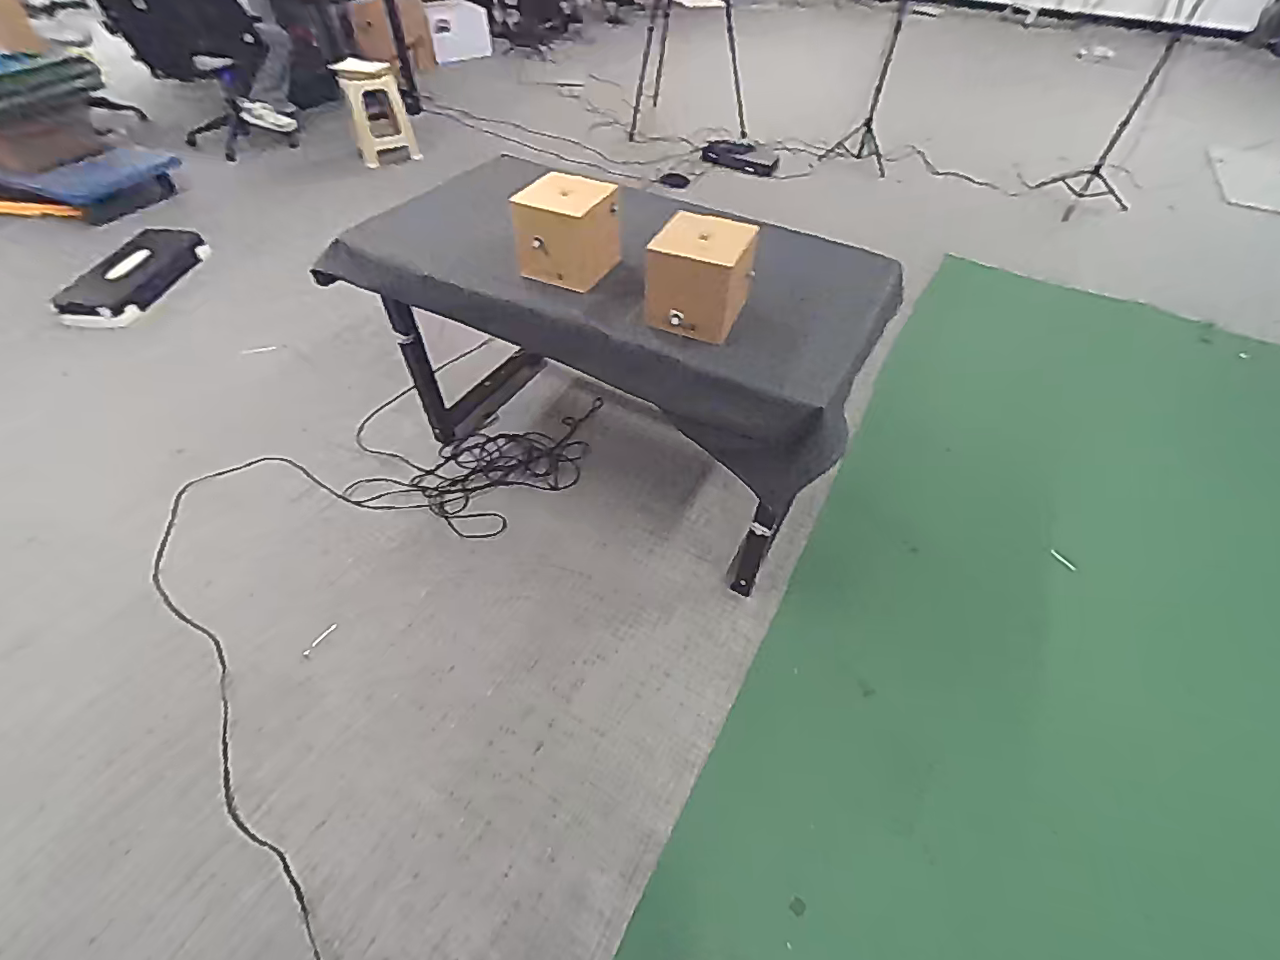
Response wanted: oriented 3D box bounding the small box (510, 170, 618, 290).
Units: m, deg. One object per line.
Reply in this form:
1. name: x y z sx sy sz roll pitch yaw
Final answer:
1. small box: -0.153 -0.538 1.169 0.168 0.176 0.179 20 51 14

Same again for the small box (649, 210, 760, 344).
1. small box: 0.121 -0.397 1.063 0.168 0.176 0.179 18 52 14
